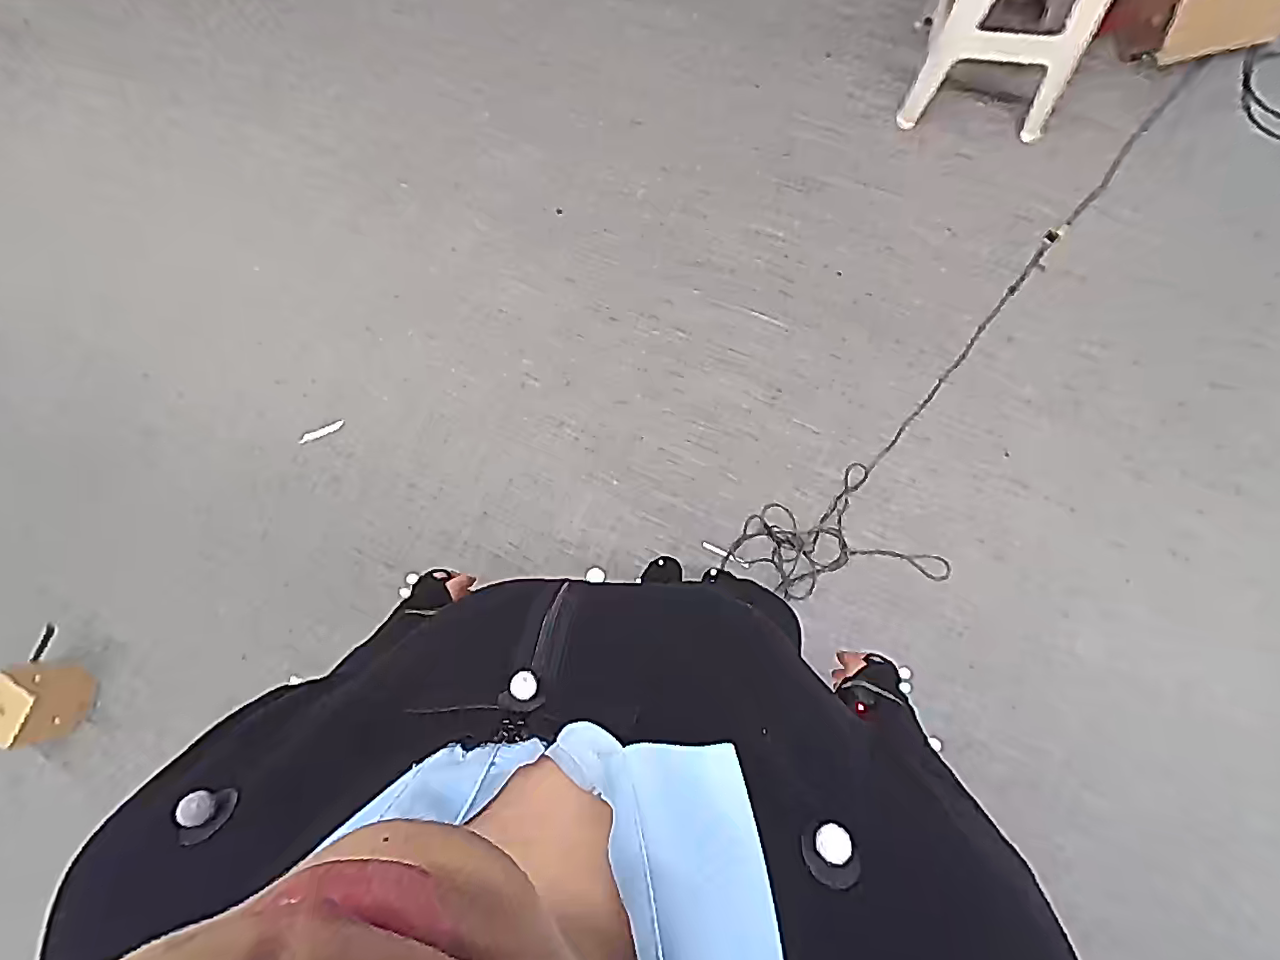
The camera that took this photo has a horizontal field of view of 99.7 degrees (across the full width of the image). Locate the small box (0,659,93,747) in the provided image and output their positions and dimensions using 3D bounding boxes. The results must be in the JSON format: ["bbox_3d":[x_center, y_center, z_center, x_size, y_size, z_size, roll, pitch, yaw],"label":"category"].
[{"bbox_3d":[-1.827,0.659,1.629,0.179,0.176,0.168,27,86,11],"label":"small box"}]
